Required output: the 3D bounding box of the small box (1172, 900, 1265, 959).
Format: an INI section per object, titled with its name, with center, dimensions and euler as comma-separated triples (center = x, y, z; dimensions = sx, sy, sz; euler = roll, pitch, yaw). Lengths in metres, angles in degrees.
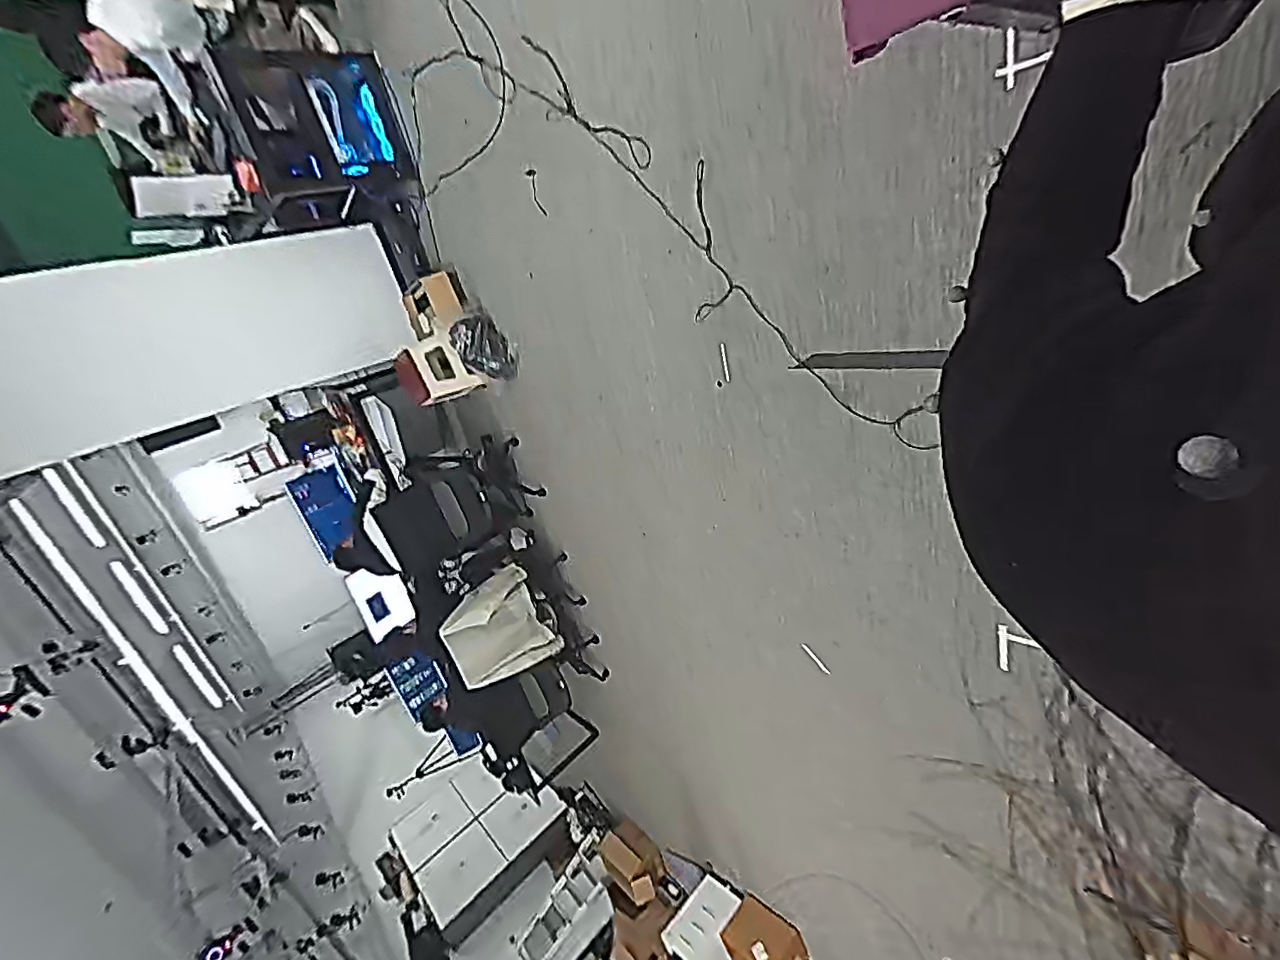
[small box]
center = 1.632, 1.356, 1.530
dimensions = 0.168, 0.176, 0.179
euler = 10, 124, 49
